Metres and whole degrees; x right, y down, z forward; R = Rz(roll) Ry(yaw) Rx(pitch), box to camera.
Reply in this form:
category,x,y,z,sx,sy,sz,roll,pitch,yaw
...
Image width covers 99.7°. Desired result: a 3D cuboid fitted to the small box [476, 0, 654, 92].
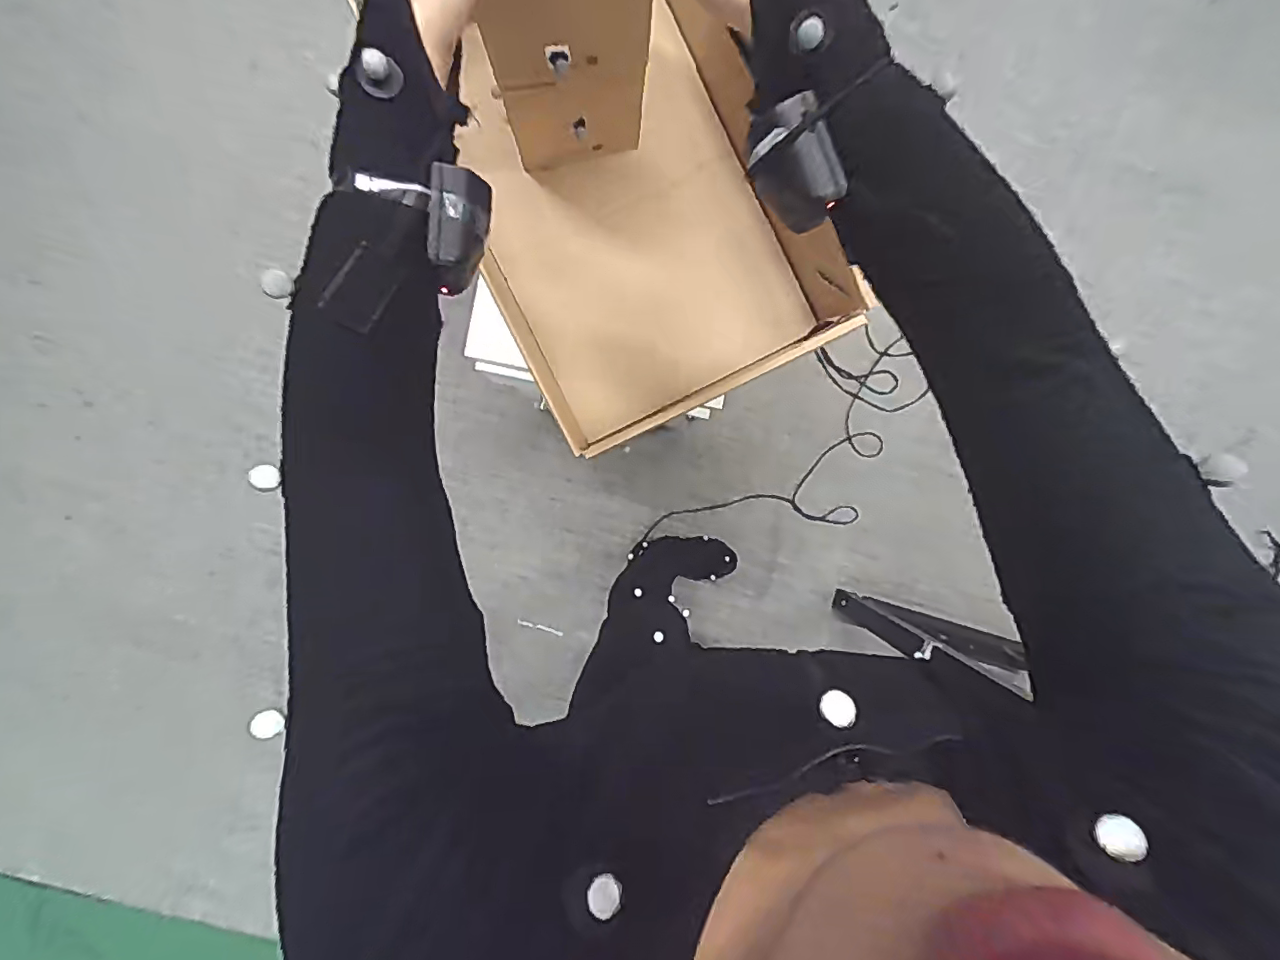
category,x,y,z,sx,sy,sz,roll,pitch,yaw
small box,-0.081,-0.516,0.507,0.168,0.176,0.179,-11,94,-1
